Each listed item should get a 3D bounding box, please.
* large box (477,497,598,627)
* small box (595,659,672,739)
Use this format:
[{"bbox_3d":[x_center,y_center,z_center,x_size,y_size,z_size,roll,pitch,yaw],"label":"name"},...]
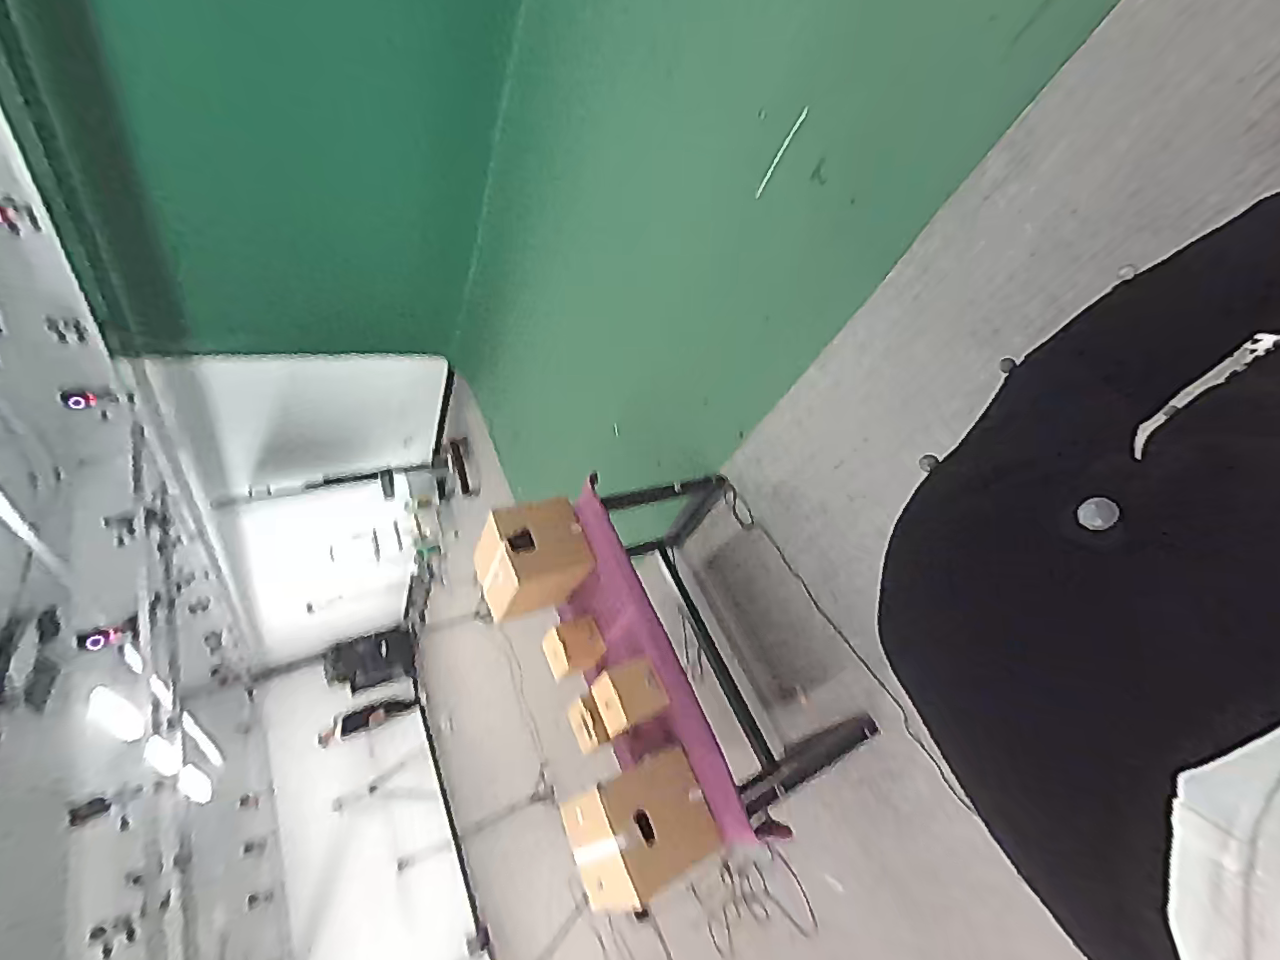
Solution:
[{"bbox_3d":[-0.412,0.320,2.117,0.320,0.320,0.408,61,142,23],"label":"large box"},{"bbox_3d":[-0.021,0.713,1.767,0.168,0.176,0.179,60,143,26],"label":"small box"}]
